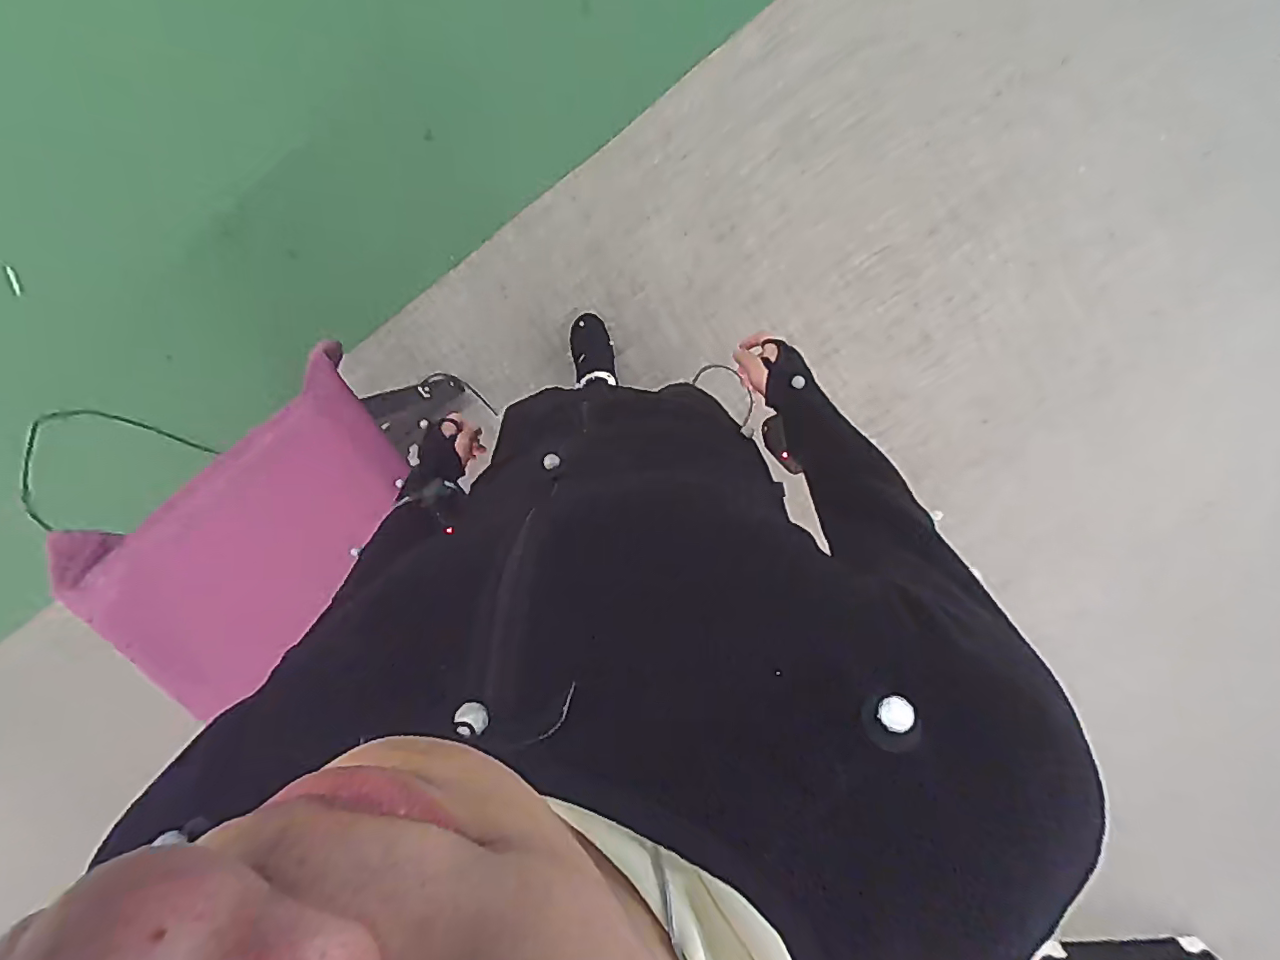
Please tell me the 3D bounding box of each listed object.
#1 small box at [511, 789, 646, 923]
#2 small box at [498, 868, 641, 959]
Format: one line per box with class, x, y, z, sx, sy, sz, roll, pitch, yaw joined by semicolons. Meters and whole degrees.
small box;-0.106;0.719;0.998;0.179;0.176;0.168;-37;102;10
small box;-0.109;0.763;0.839;0.179;0.176;0.168;-37;102;9
